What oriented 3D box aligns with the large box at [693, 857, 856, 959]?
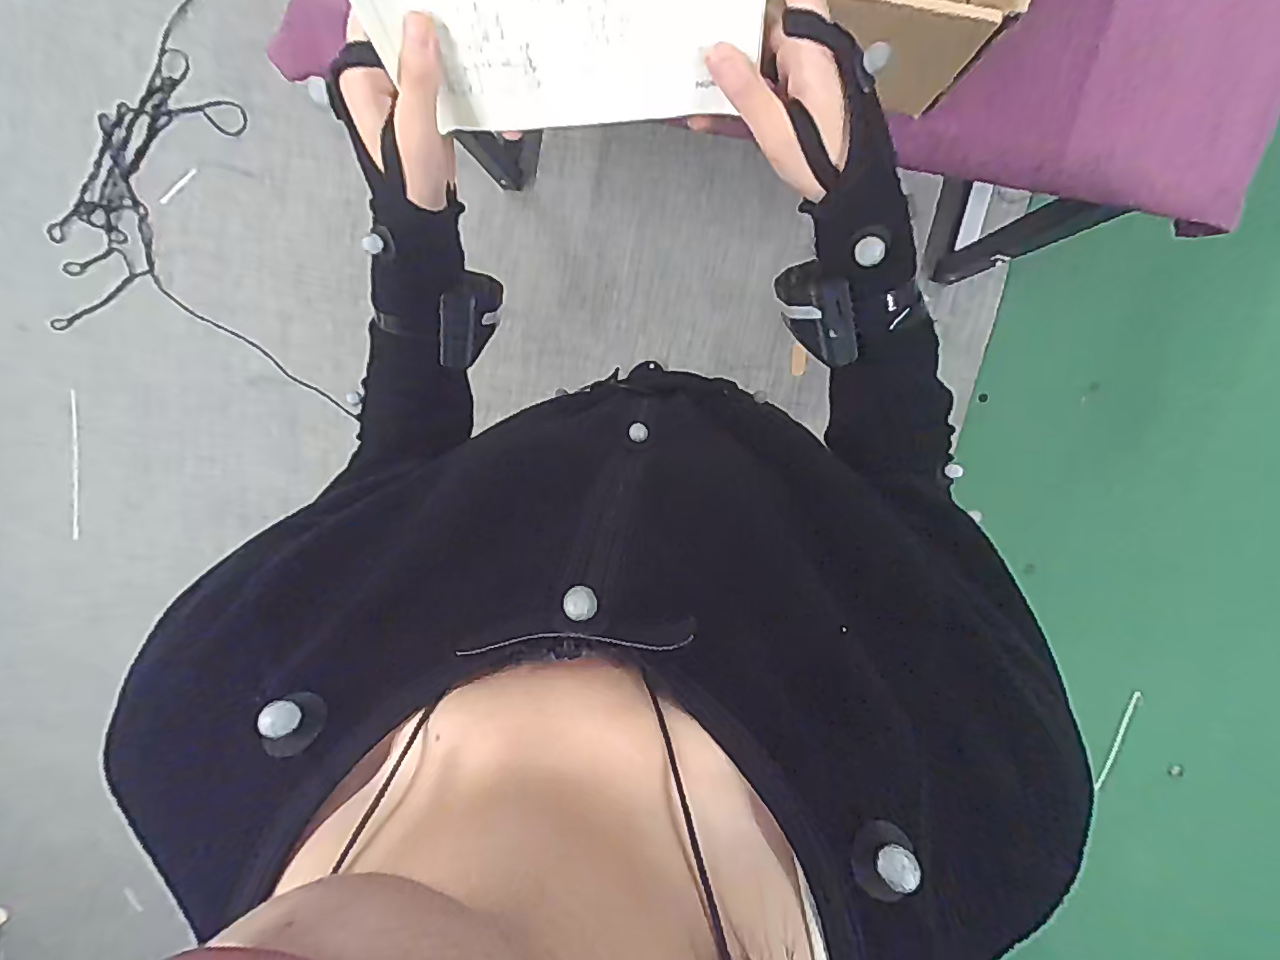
[{"bbox_3d":[0.365,1.342,1.549,0.408,0.320,0.320,-3,100,3],"label":"large box"}]
